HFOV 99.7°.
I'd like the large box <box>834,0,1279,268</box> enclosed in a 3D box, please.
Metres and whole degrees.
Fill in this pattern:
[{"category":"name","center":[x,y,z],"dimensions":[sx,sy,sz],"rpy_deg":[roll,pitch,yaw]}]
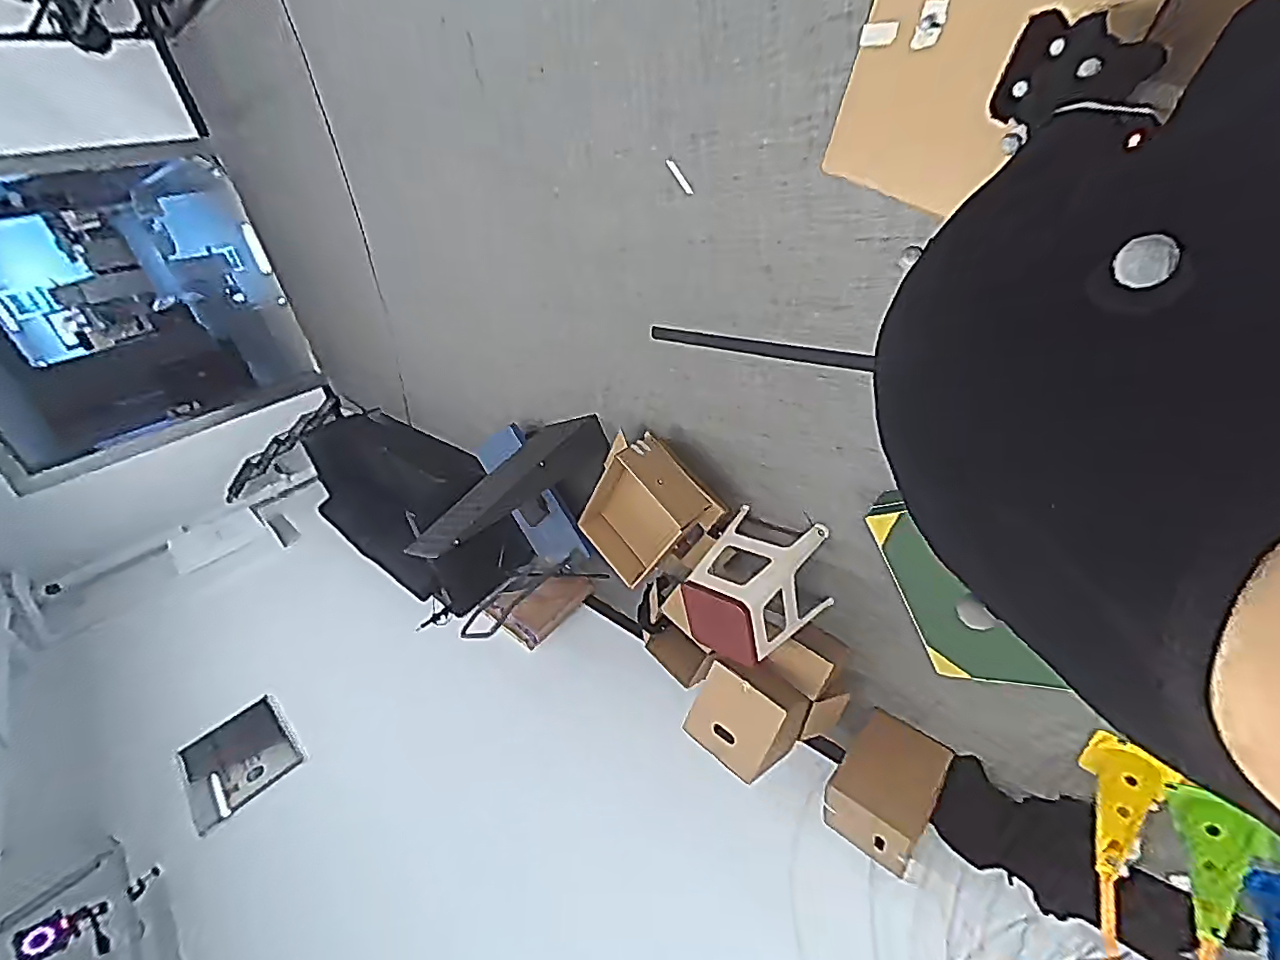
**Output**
[{"category":"large box","center":[0.540,-0.509,0.712],"dimensions":[0.320,0.408,0.320],"rpy_deg":[47,144,34]}]
